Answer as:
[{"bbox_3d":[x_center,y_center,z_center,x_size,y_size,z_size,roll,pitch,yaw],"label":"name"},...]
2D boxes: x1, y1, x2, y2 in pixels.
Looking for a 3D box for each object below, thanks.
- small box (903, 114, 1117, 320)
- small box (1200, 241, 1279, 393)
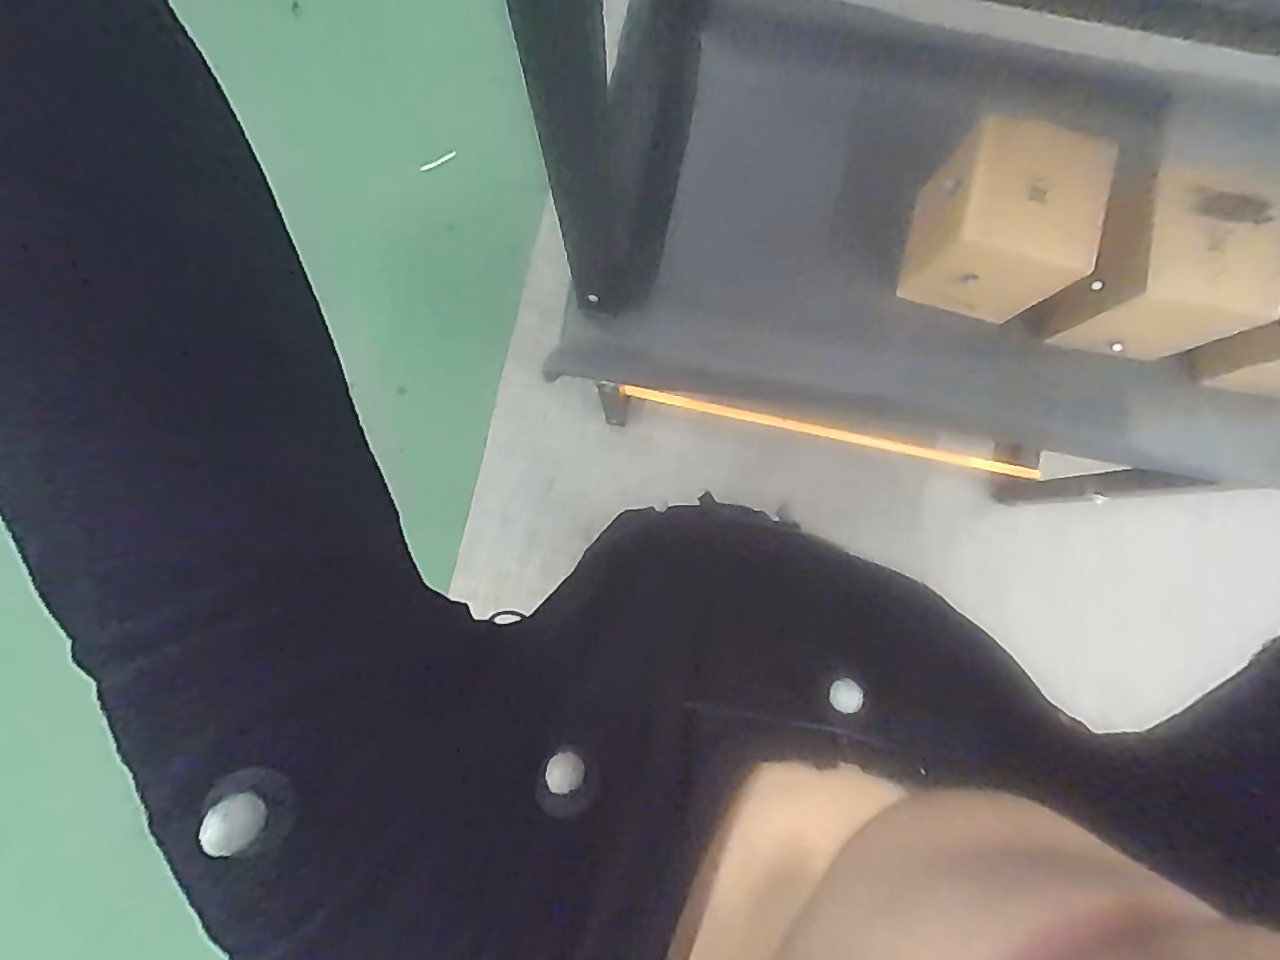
[{"bbox_3d":[0.489,-0.344,0.742,0.168,0.176,0.179,15,84,1],"label":"small box"},{"bbox_3d":[0.920,-0.223,0.728,0.168,0.176,0.179,10,83,0],"label":"small box"}]
